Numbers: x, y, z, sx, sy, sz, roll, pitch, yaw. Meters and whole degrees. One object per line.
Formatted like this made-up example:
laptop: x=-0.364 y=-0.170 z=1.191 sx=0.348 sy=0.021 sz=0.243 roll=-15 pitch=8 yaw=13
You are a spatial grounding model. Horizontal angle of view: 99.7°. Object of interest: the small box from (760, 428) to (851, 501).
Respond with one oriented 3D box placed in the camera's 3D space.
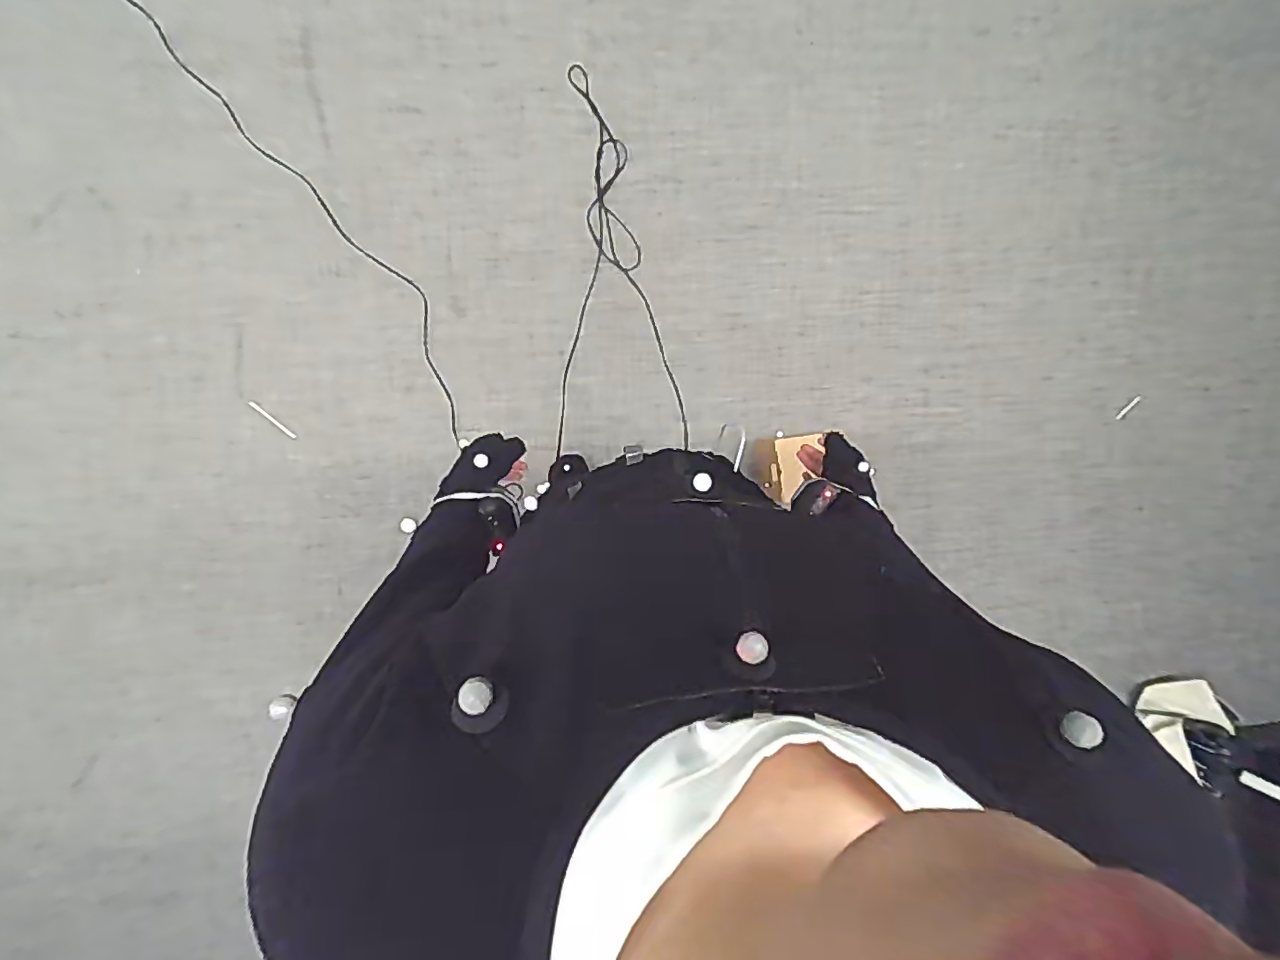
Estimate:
small box: x=0.426 y=-0.041 z=1.423 sx=0.179 sy=0.176 sz=0.168 roll=-9 pitch=94 yaw=-5
